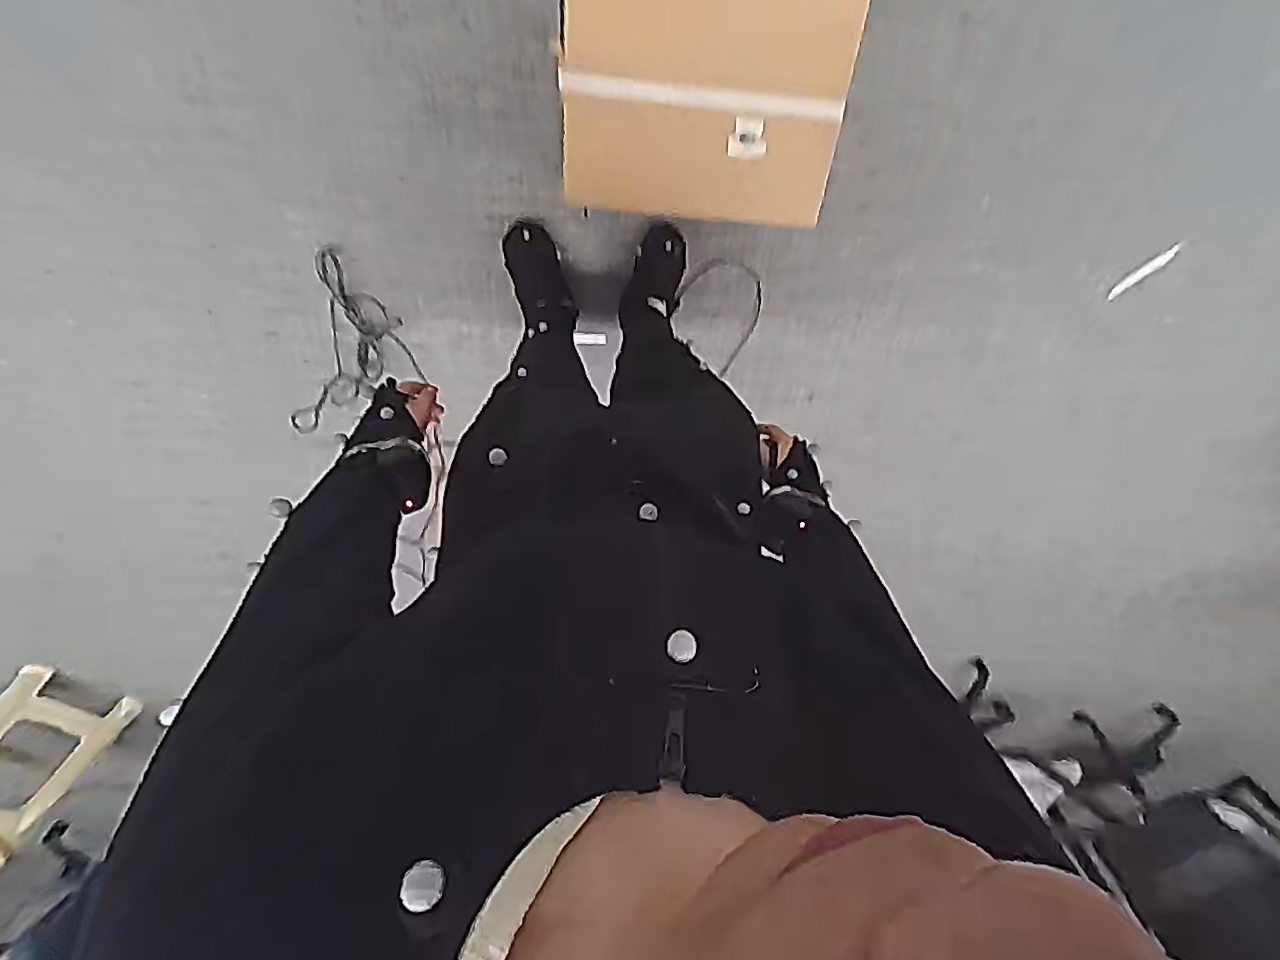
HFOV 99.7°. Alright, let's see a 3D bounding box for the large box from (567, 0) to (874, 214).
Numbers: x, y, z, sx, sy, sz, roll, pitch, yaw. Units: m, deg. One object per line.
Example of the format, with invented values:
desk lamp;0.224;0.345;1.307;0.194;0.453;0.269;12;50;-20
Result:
large box;0.088;-0.628;0.862;0.408;0.320;0.320;1;125;-7
